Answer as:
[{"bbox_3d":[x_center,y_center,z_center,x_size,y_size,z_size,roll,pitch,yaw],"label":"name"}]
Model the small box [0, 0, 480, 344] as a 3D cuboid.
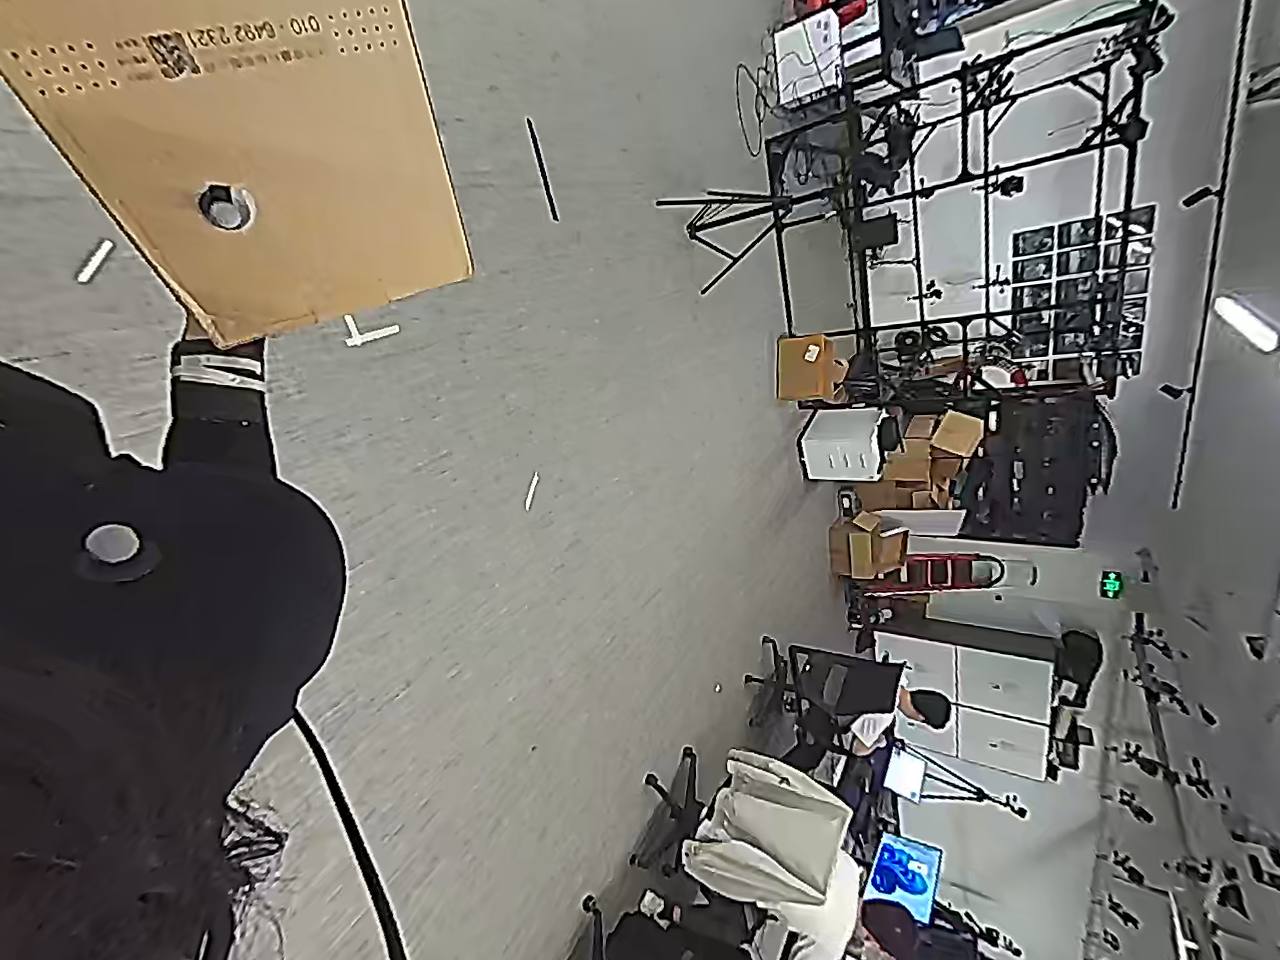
[{"bbox_3d":[-0.218,-0.218,0.326,0.168,0.179,0.176,-22,146,-19],"label":"small box"}]
